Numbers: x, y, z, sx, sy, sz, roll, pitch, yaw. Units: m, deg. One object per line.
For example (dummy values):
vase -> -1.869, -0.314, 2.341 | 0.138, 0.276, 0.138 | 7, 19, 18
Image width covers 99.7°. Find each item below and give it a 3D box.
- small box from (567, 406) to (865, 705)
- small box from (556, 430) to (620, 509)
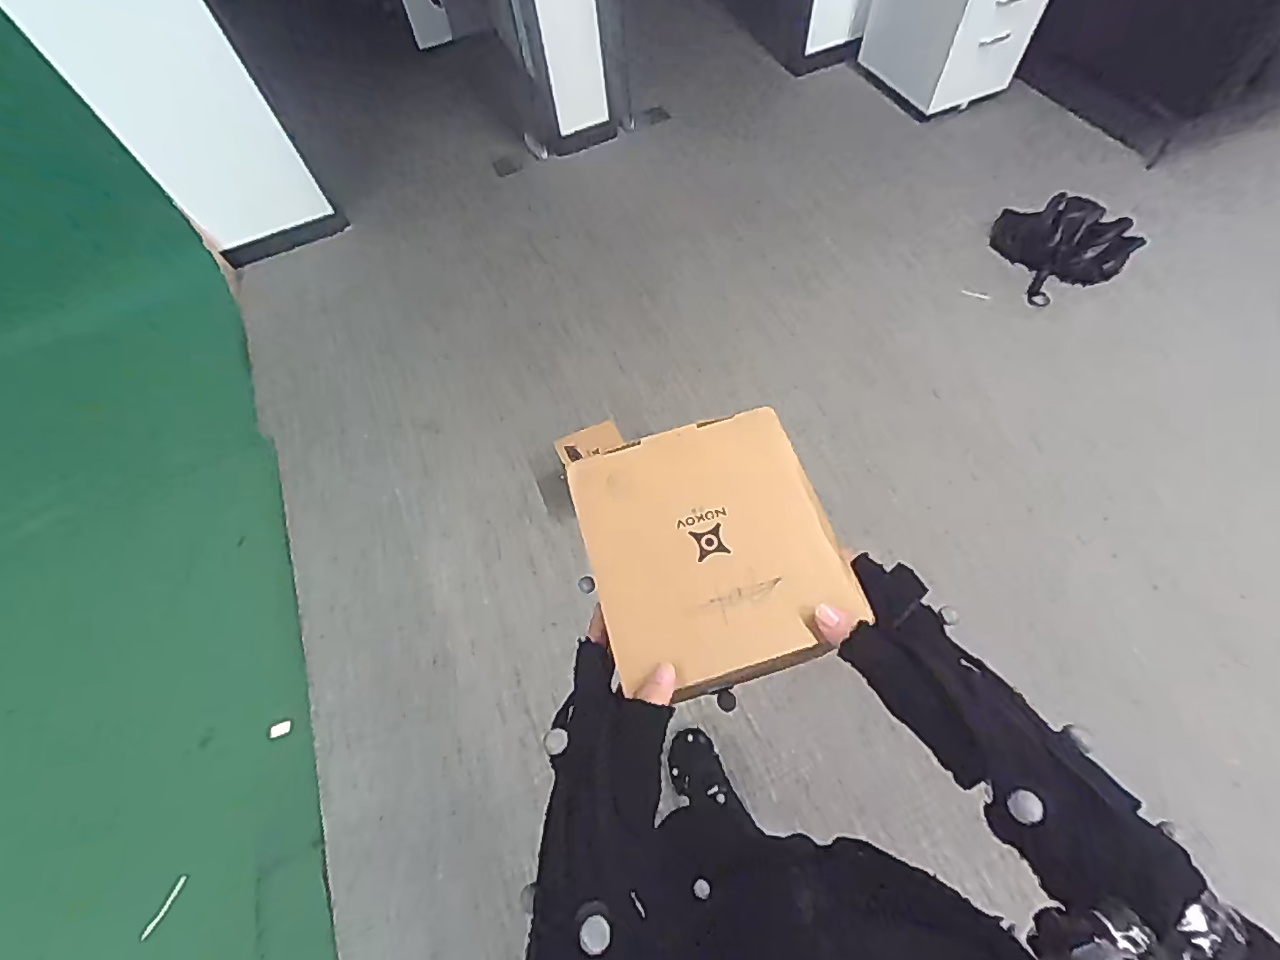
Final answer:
small box -> 0.048, 0.072, 0.448 | 0.168, 0.176, 0.179 | -16, 65, -4
small box -> -0.116, -0.004, 1.522 | 0.179, 0.176, 0.168 | -22, 62, -8
